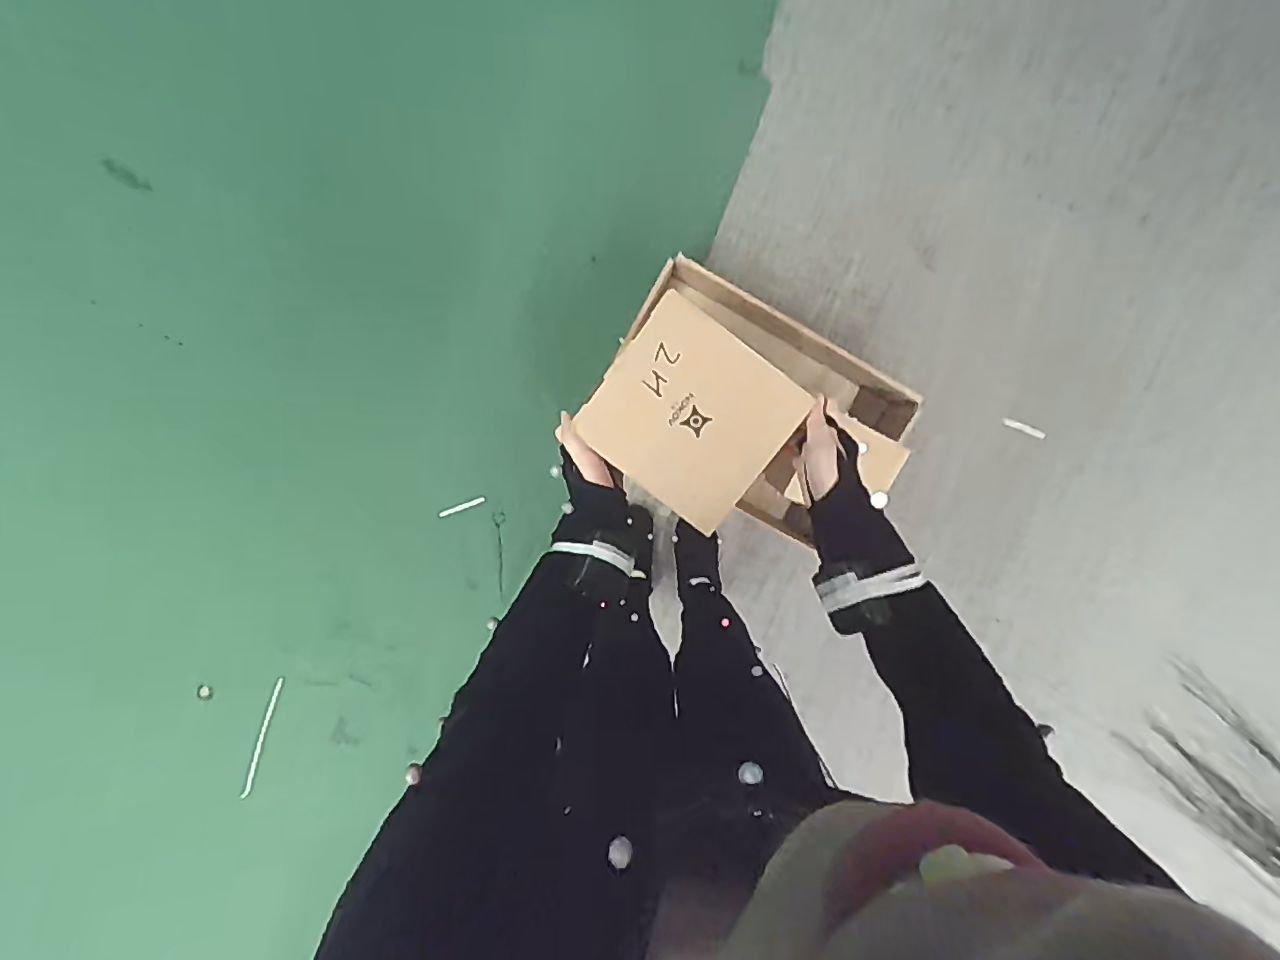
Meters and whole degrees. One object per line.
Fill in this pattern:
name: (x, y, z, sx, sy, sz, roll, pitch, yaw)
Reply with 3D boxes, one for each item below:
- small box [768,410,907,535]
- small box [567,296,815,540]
small box: (0.364, -0.022, 1.041, 0.168, 0.176, 0.179, 27, 98, -4)
small box: (0.052, -0.065, 0.584, 0.179, 0.176, 0.168, 38, 97, -1)
